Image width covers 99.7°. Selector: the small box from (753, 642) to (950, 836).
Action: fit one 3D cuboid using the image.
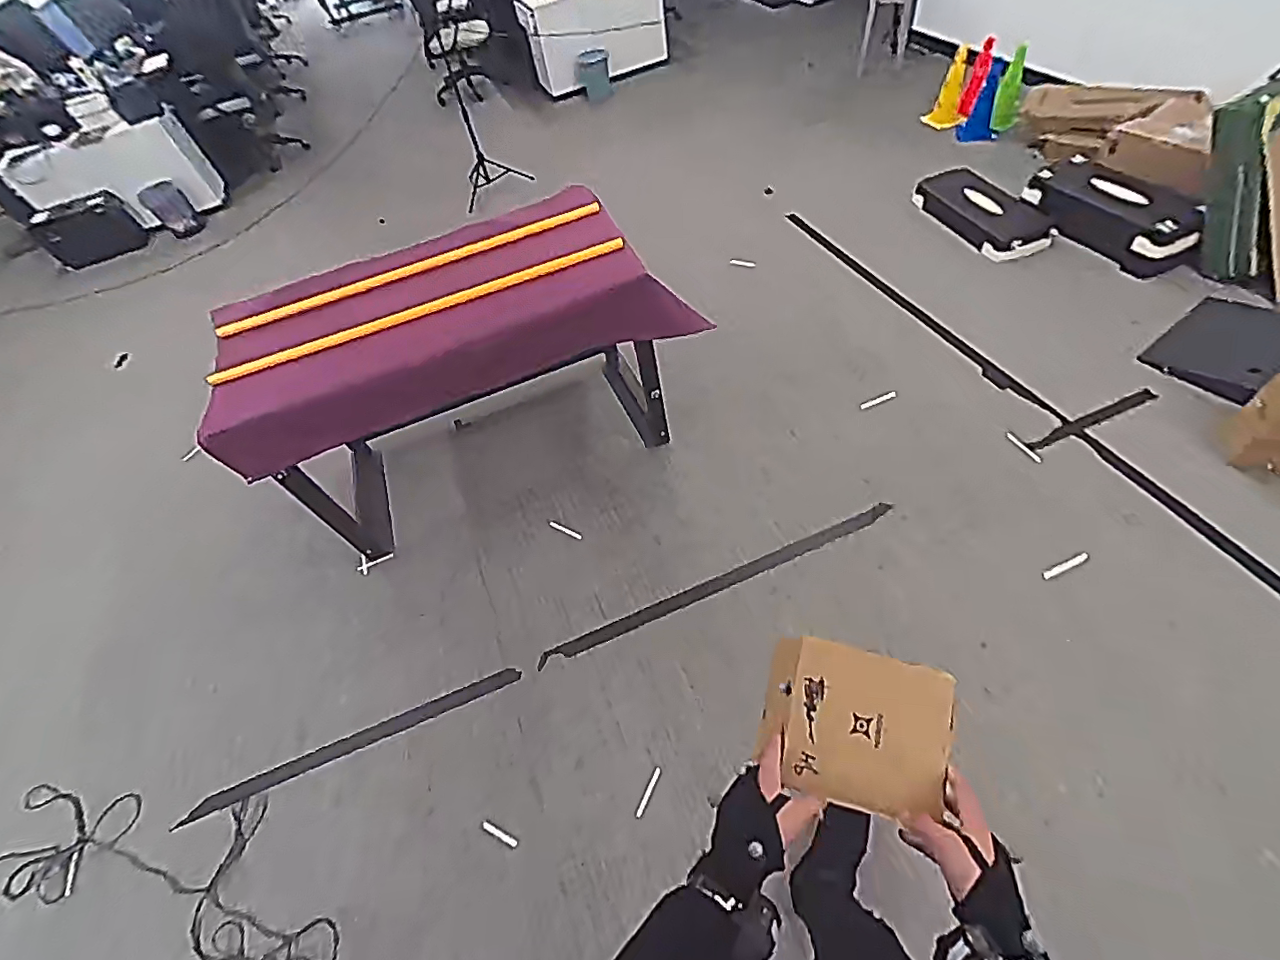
[{"bbox_3d":[0.256,0.311,0.686,0.179,0.176,0.168,14,73,7],"label":"small box"}]
